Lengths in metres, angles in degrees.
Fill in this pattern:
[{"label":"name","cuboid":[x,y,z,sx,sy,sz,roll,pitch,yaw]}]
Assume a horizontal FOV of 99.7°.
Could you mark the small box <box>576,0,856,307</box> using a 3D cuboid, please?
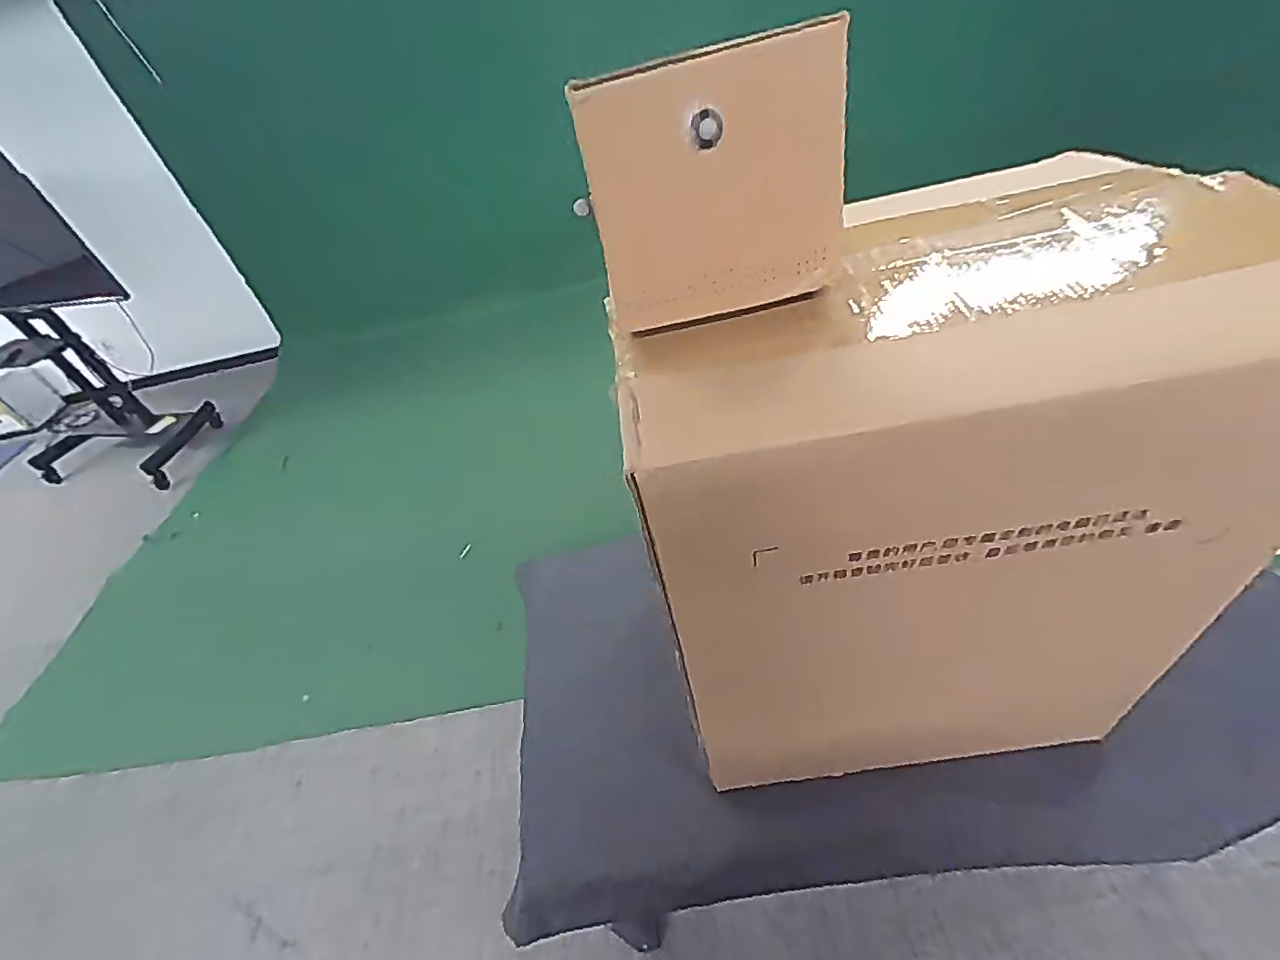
[{"label":"small box","cuboid":[0.053,-0.251,0.432,0.179,0.176,0.168,-10,36,1]}]
